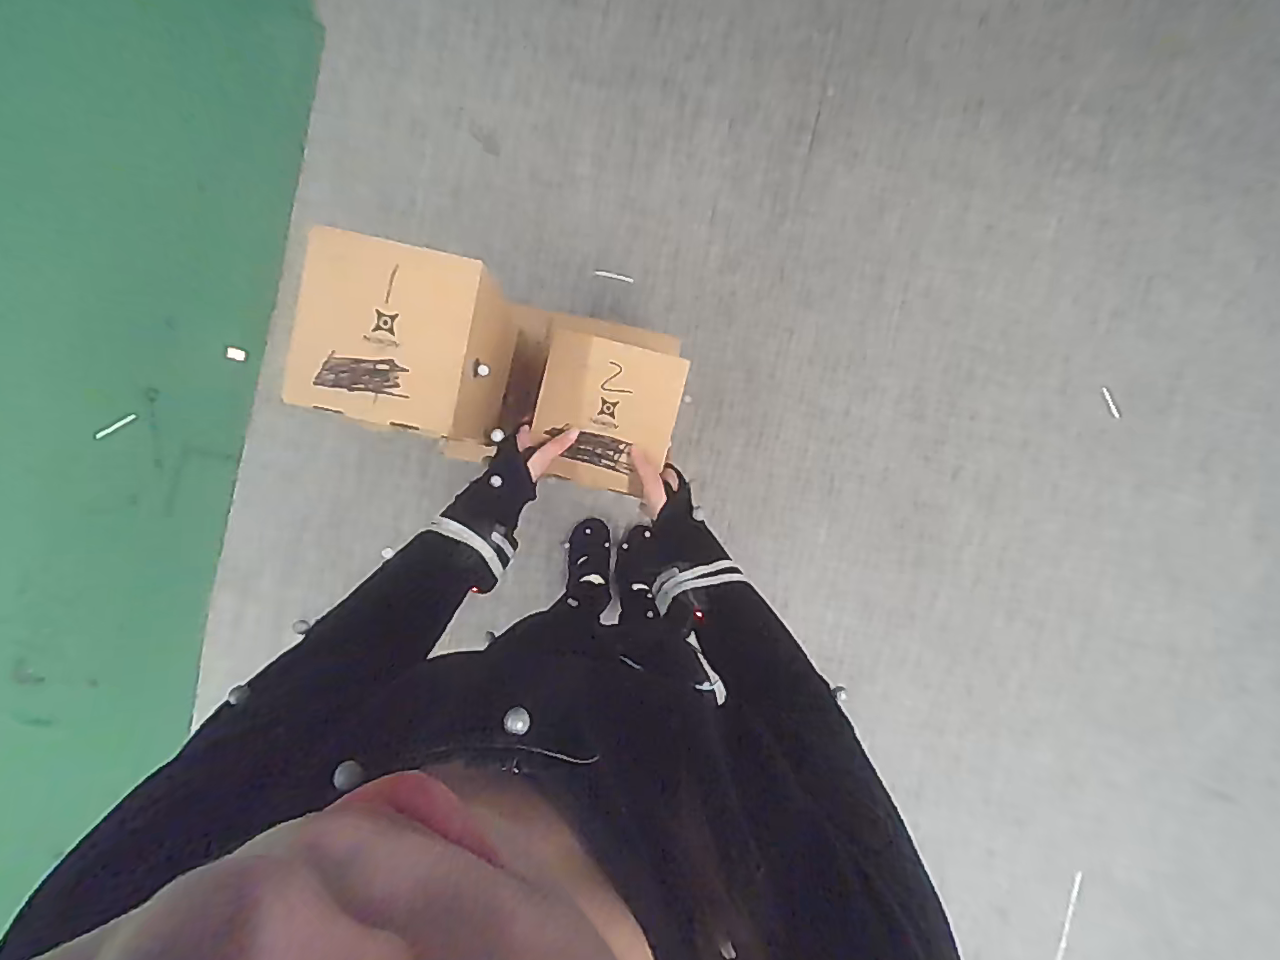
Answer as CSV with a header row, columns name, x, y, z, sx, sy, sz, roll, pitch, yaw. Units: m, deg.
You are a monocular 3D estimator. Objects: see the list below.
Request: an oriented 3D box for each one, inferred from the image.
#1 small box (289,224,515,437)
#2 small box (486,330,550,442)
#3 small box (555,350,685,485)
name,x,y,z,sx,sy,sz,roll,pitch,yaw
small box,-0.246,-0.148,0.602,0.168,0.176,0.179,11,91,-3
small box,-0.258,-0.166,0.929,0.168,0.176,0.179,13,92,-3
small box,-0.033,-0.100,0.932,0.168,0.176,0.179,18,92,0
